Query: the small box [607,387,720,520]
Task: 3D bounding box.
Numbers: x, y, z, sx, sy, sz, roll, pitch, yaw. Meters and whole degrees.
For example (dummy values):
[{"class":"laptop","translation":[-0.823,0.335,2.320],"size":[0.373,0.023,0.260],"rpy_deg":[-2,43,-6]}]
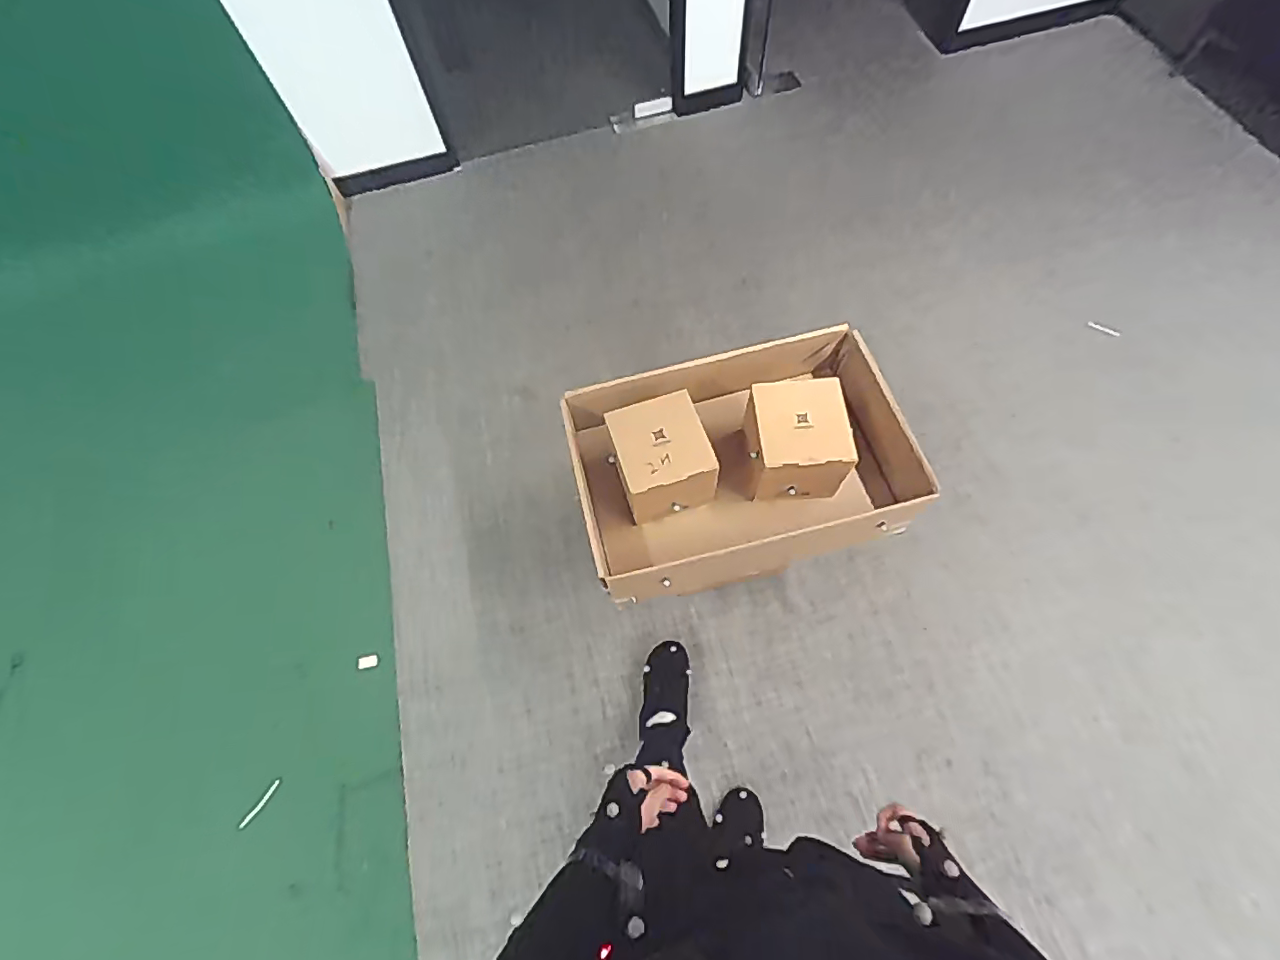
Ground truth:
[{"class":"small box","translation":[0.042,-0.046,1.042],"size":[0.168,0.176,0.179],"rpy_deg":[-17,66,-4]}]
